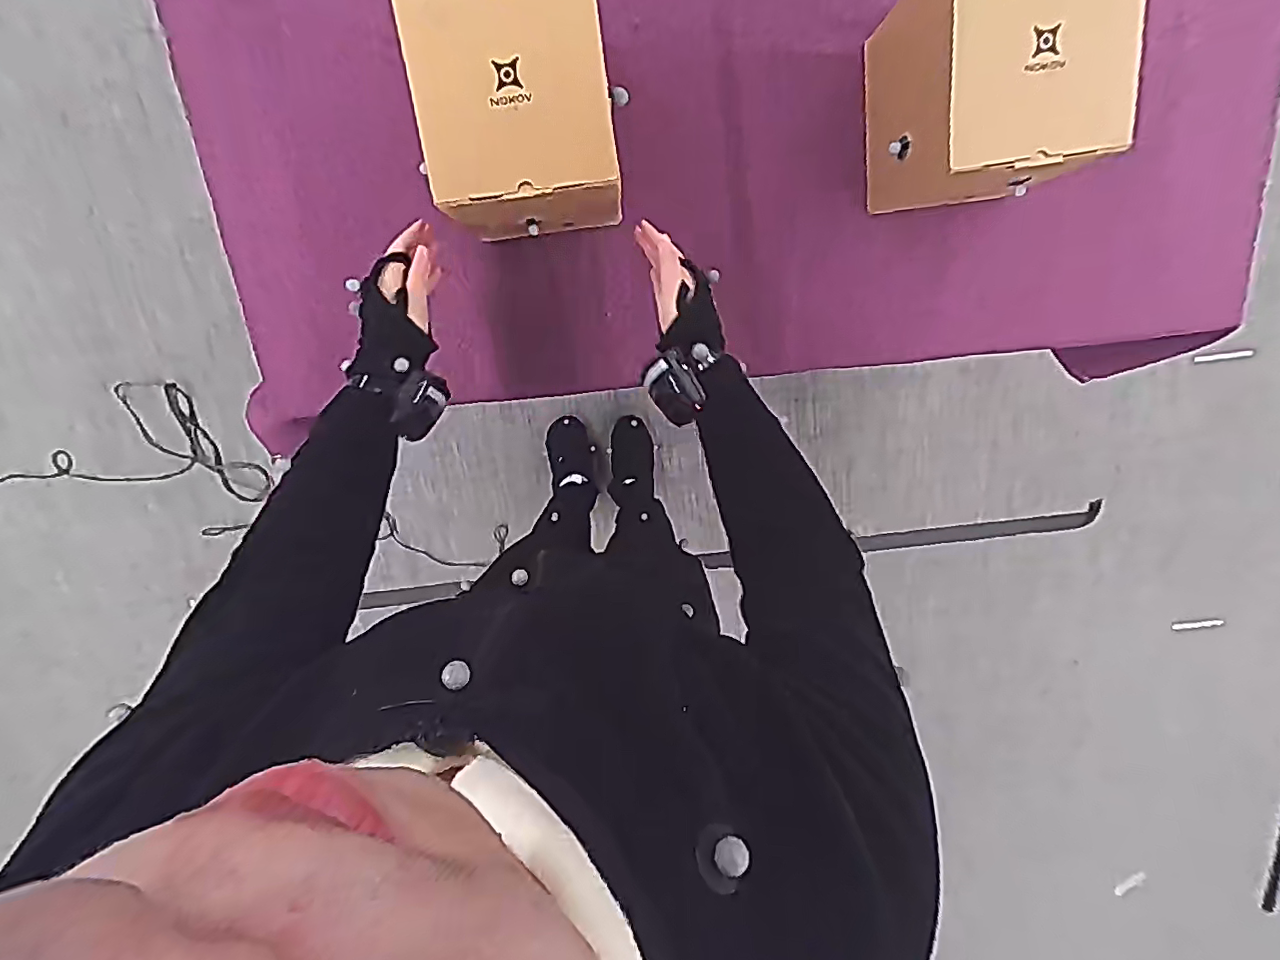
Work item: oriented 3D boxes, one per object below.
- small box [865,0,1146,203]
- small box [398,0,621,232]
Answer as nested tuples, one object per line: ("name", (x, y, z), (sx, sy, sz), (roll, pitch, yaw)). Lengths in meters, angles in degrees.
("small box", (0.337, -0.386, 0.532), (0.168, 0.176, 0.179), (-7, 105, 0))
("small box", (-0.111, -0.358, 0.528), (0.168, 0.176, 0.179), (-8, 106, 0))
